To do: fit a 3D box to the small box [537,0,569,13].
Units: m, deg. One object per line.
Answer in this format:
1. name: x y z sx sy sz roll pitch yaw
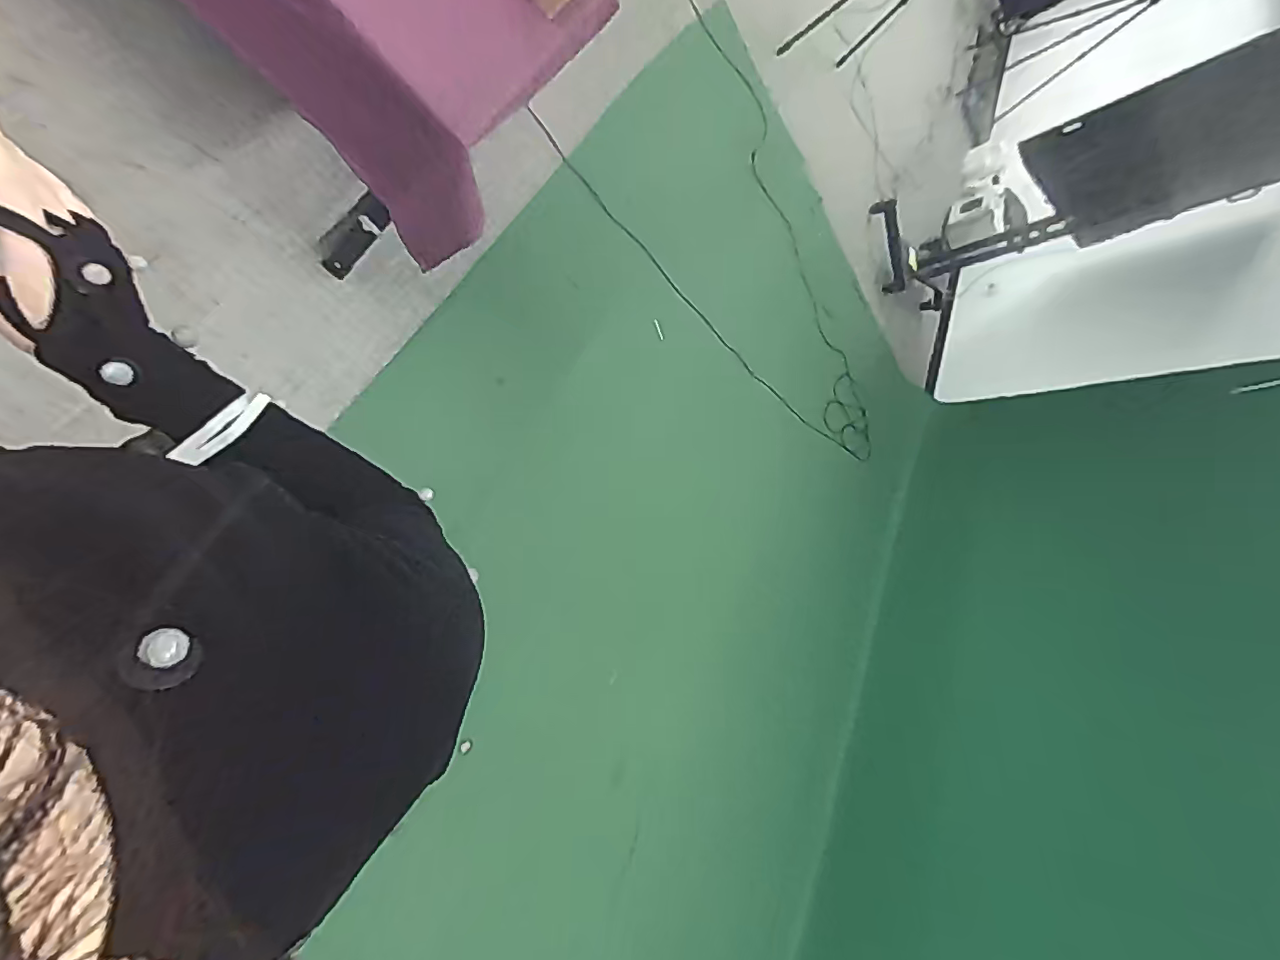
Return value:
1. small box: -0.130 -0.989 0.948 0.168 0.176 0.179 44 63 -31
